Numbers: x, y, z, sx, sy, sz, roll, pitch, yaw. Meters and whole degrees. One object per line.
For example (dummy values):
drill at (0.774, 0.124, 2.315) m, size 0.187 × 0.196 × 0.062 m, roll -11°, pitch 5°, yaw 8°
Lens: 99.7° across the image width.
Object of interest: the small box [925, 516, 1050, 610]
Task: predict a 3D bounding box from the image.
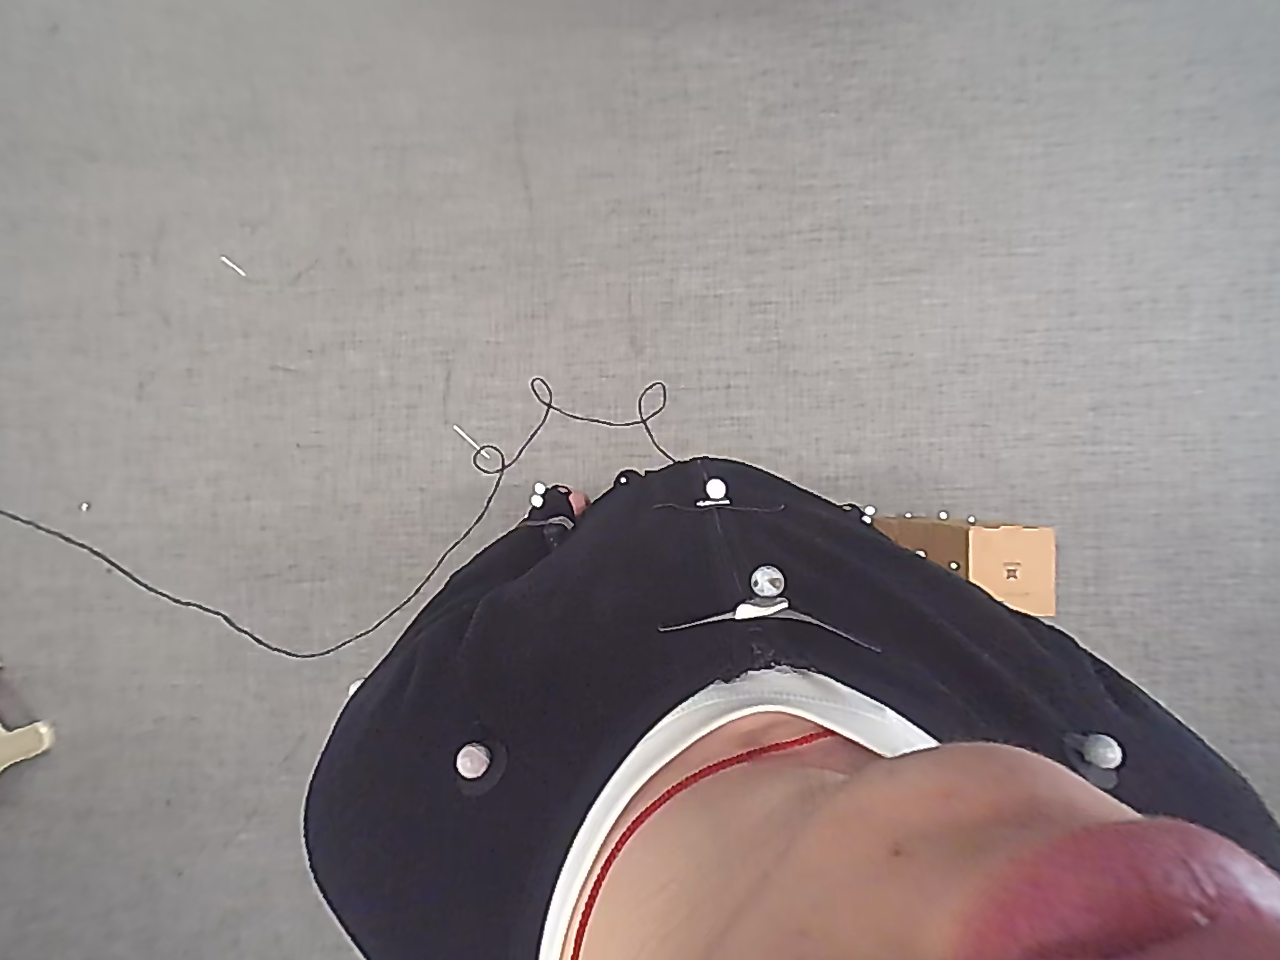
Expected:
small box at (0.726, 0.168, 1.146) m, size 0.168 × 0.176 × 0.179 m, roll -1°, pitch 92°, yaw 2°

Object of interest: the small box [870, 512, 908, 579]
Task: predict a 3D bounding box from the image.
small box at (0.742, 0.177, 1.472) m, size 0.179 × 0.176 × 0.168 m, roll 0°, pitch 91°, yaw 2°

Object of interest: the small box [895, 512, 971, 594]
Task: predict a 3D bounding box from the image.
small box at (0.736, 0.172, 1.307) m, size 0.168 × 0.176 × 0.179 m, roll -1°, pitch 90°, yaw 1°
